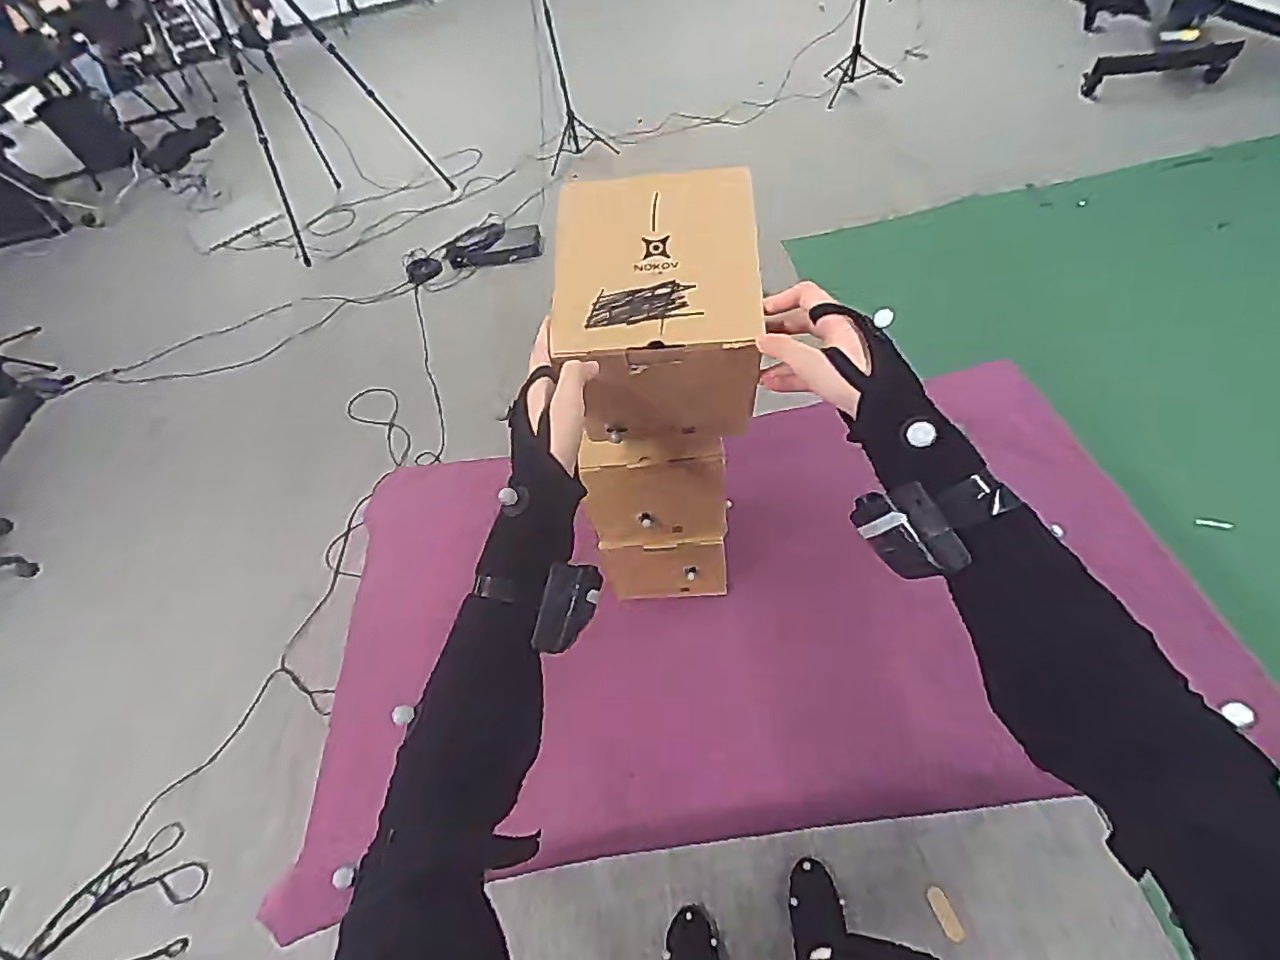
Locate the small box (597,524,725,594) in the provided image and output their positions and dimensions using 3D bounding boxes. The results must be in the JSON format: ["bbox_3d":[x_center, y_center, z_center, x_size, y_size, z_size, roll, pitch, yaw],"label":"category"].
[{"bbox_3d":[0.040,0.062,0.807,0.168,0.176,0.179,-2,54,8],"label":"small box"}]

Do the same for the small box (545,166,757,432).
[{"bbox_3d":[0.018,-0.152,0.507,0.168,0.176,0.179,-2,69,6],"label":"small box"}]

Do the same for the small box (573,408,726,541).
[{"bbox_3d":[0.017,-0.042,0.684,0.168,0.176,0.179,-5,55,5],"label":"small box"}]
